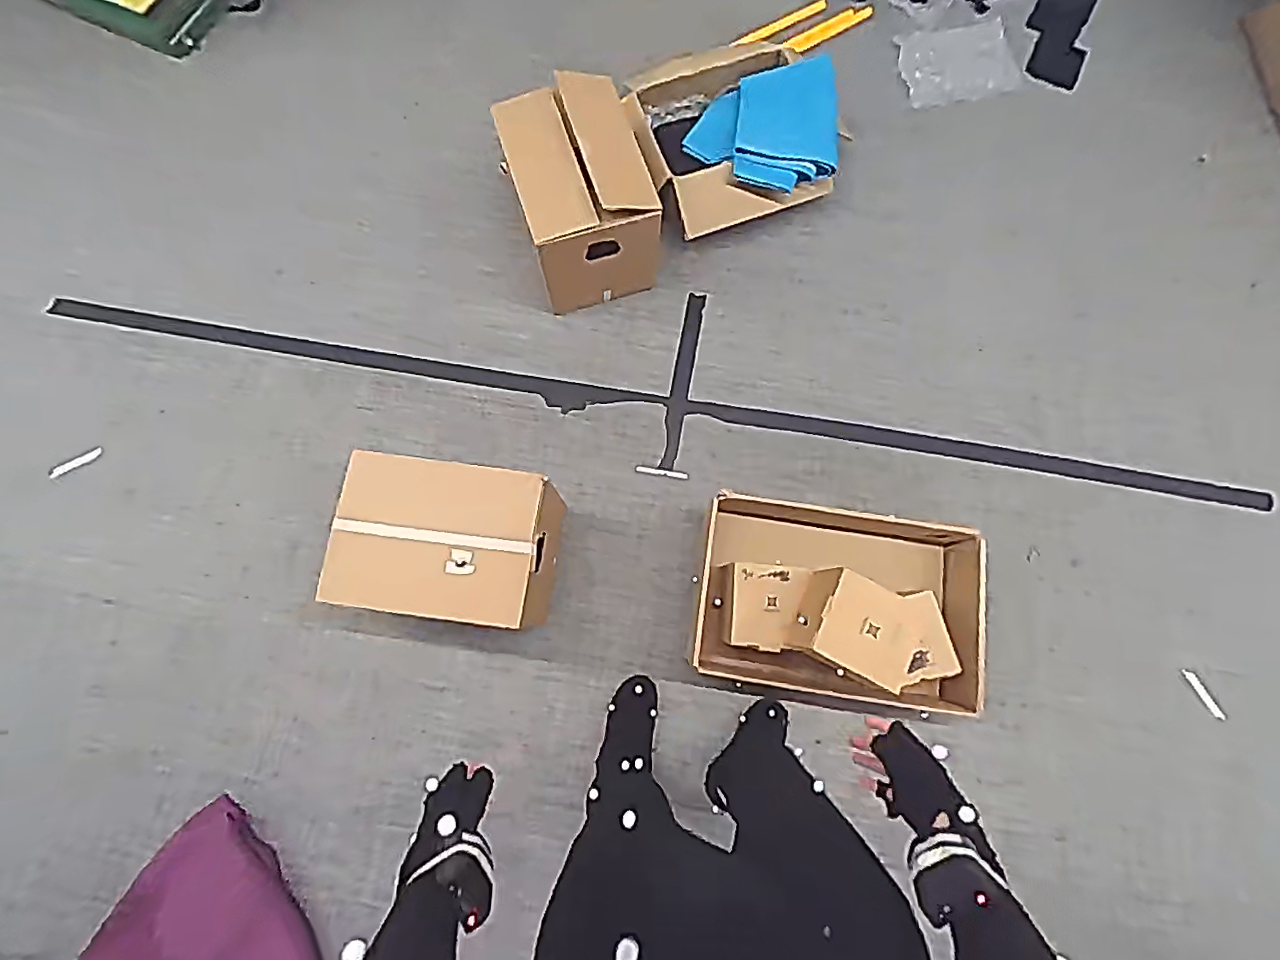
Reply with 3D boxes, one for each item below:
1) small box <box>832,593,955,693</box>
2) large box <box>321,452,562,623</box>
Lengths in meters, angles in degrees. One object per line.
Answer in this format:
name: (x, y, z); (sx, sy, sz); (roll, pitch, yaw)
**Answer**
small box: (0.559, 0.359, 1.214); (0.168, 0.176, 0.179); (-13, 76, -3)
large box: (-0.411, 0.145, 1.224); (0.408, 0.320, 0.320); (7, 77, 0)
